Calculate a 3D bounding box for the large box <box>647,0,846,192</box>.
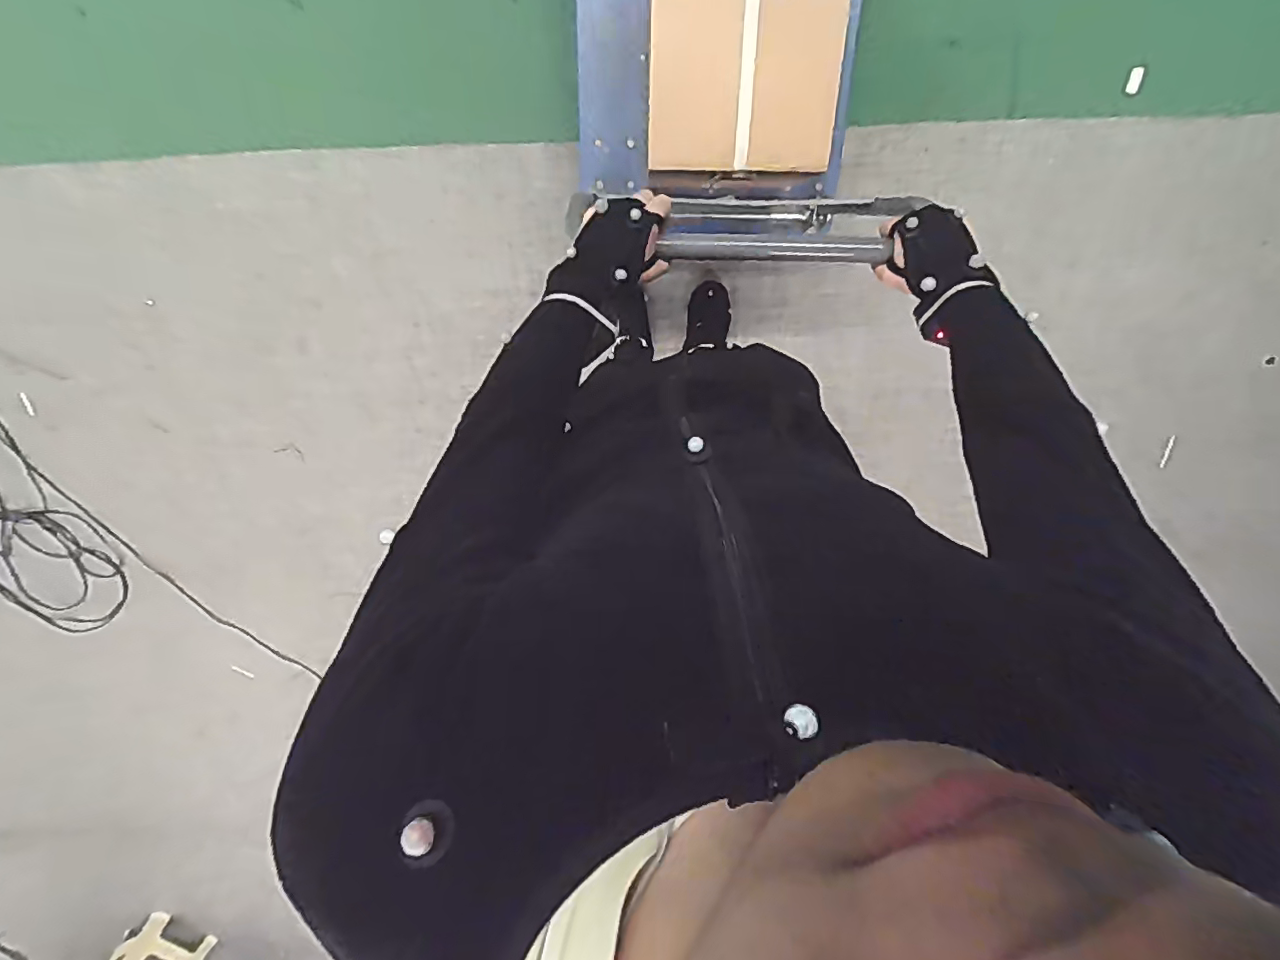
[{"bbox_3d":[0.172,-0.772,0.999,0.320,0.320,0.408,1,113,-1],"label":"large box"}]
